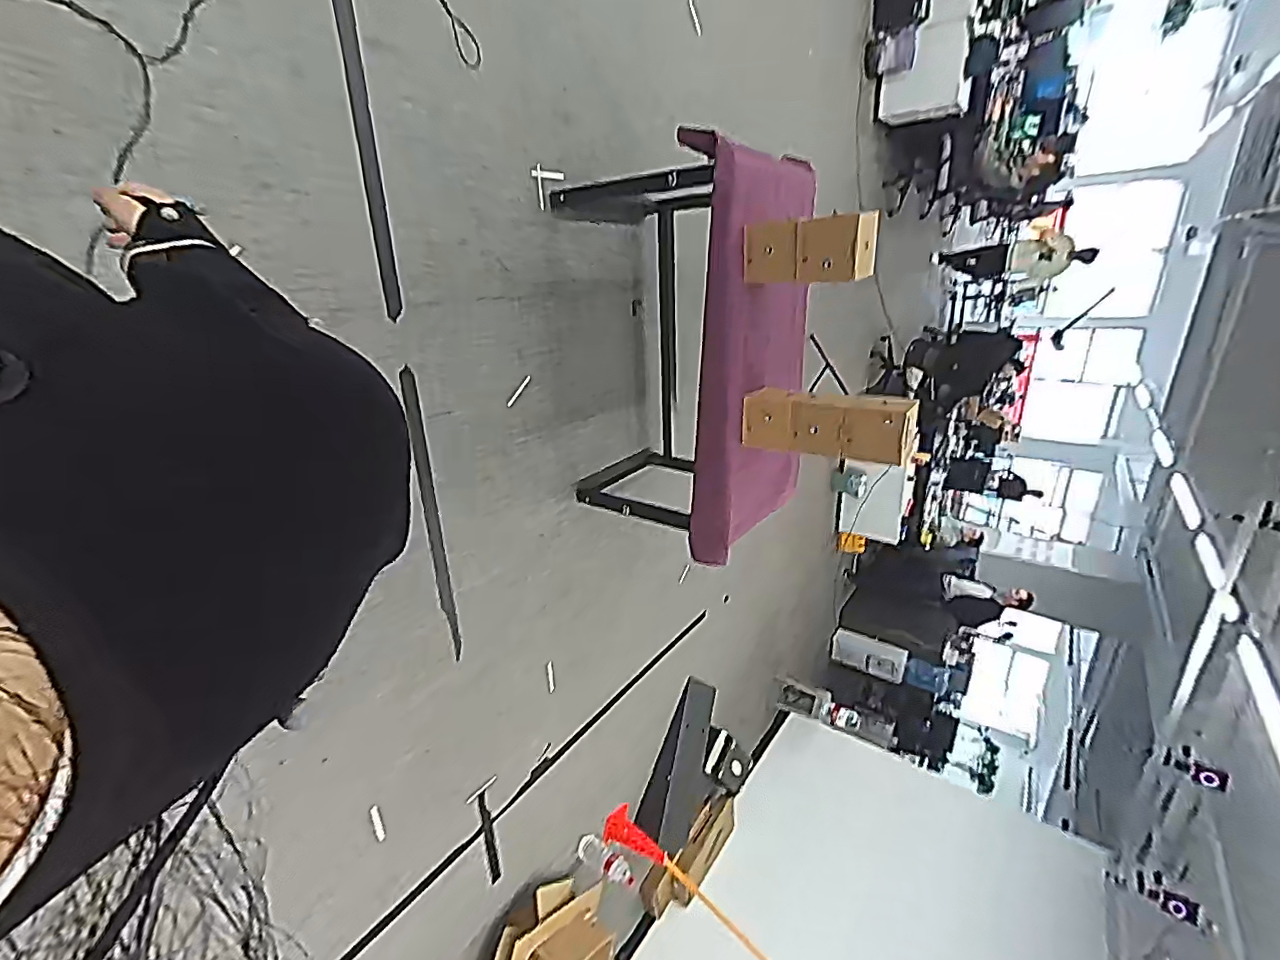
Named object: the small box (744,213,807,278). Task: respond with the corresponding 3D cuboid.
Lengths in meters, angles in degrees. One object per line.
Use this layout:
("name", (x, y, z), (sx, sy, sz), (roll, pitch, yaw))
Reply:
("small box", (0.418, -0.695, 1.607), (0.179, 0.176, 0.168), (-32, 126, -46))

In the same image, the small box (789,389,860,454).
("small box", (0.585, -0.191, 1.723), (0.179, 0.176, 0.168), (-26, 121, -48))

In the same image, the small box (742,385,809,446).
("small box", (0.451, -0.219, 1.813), (0.179, 0.176, 0.168), (-27, 122, -48))

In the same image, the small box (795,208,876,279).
("small box", (0.544, -0.661, 1.511), (0.179, 0.176, 0.168), (-35, 129, -45))
